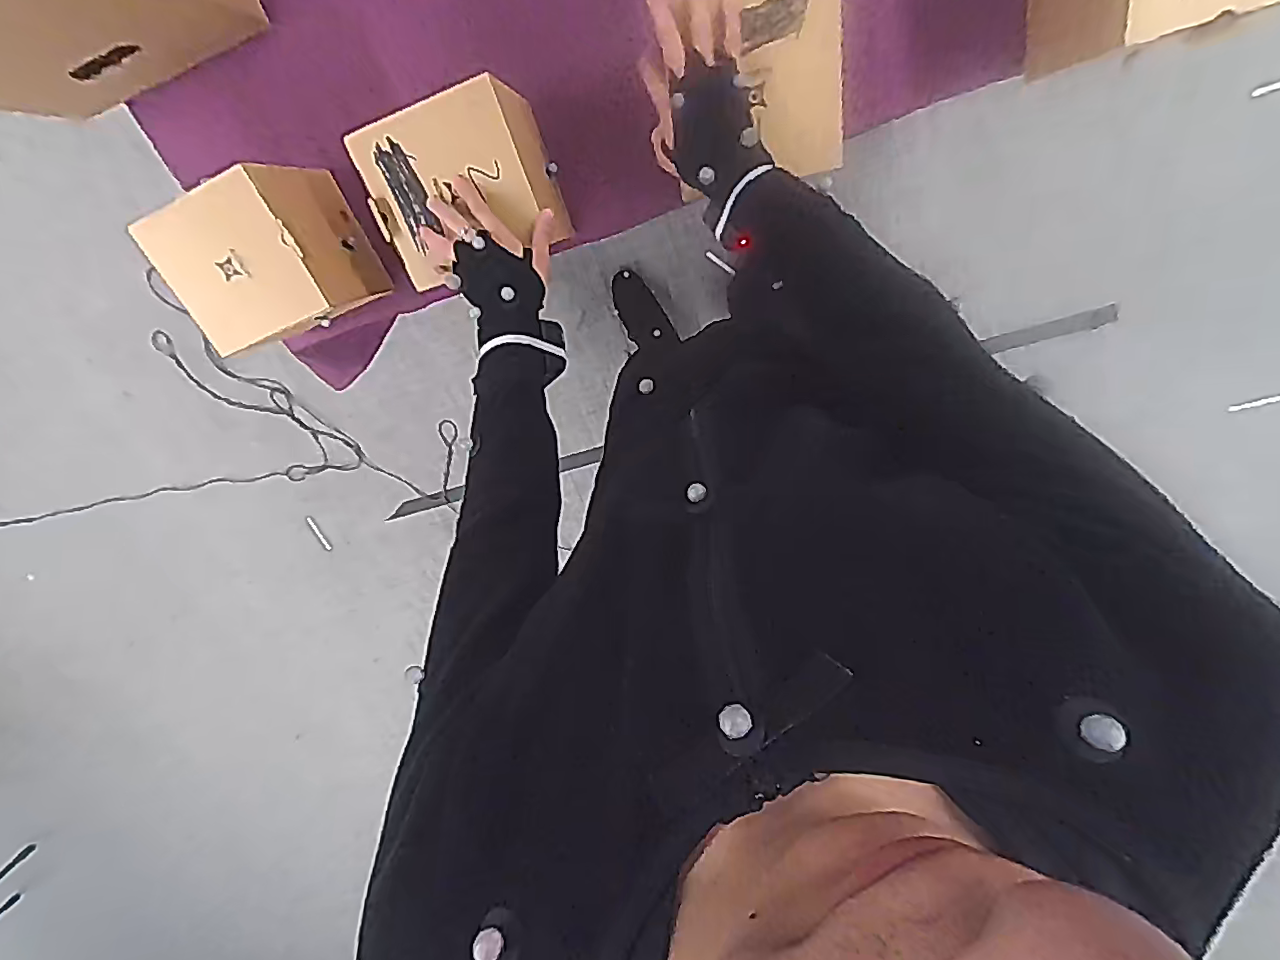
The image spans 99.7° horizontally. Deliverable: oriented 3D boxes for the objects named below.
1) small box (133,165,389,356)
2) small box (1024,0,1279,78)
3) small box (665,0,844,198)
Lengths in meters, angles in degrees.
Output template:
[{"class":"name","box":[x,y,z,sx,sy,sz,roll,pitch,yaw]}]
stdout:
[{"class":"small box","box":[-0.475,-0.285,0.710,0.179,0.176,0.168,-19,114,12]},{"class":"small box","box":[0.504,-0.526,0.519,0.168,0.176,0.179,-10,116,10]},{"class":"small box","box":[0.119,-0.423,0.599,0.168,0.176,0.179,-8,118,8]}]
